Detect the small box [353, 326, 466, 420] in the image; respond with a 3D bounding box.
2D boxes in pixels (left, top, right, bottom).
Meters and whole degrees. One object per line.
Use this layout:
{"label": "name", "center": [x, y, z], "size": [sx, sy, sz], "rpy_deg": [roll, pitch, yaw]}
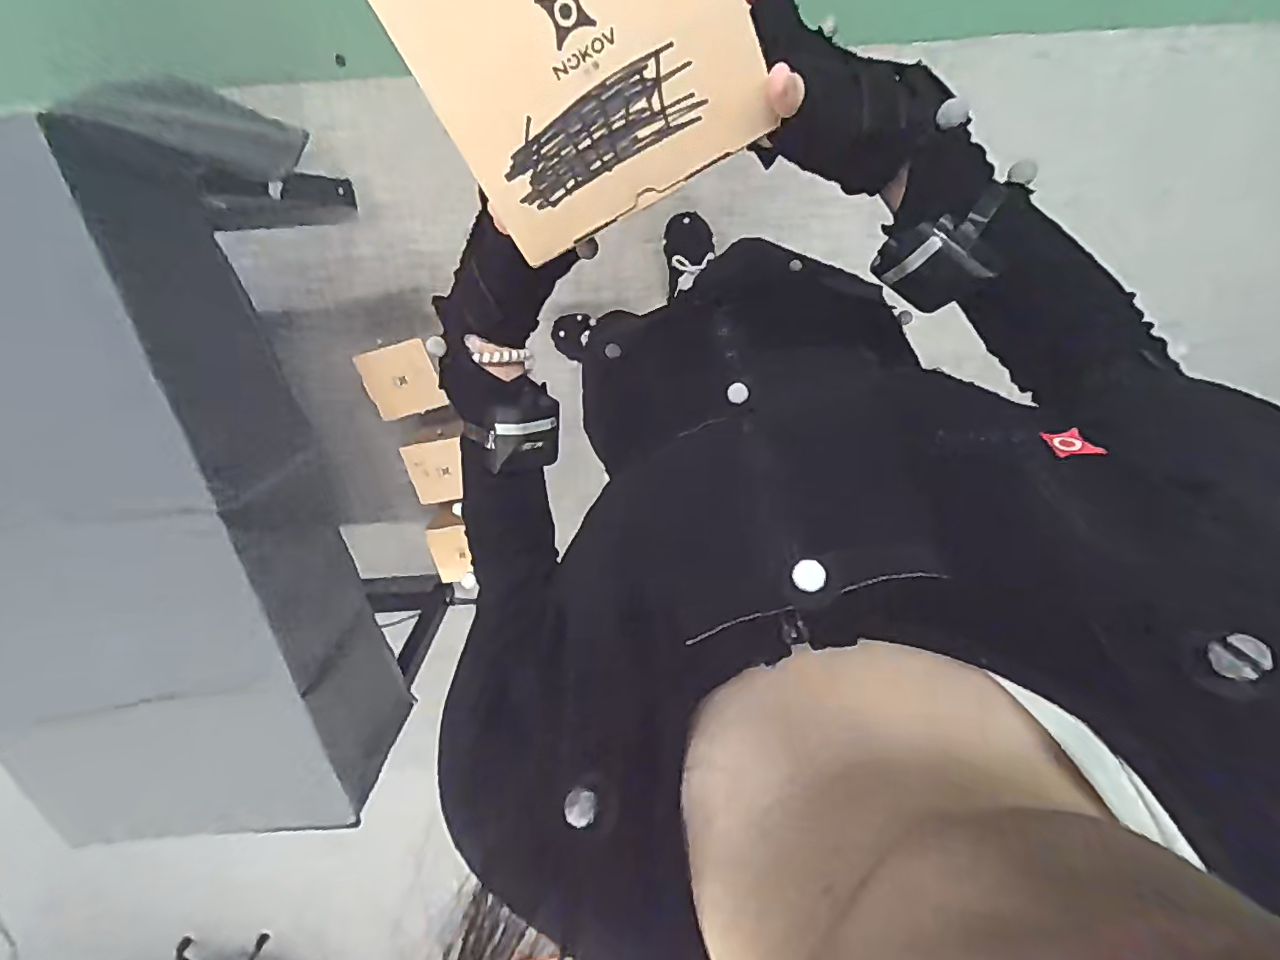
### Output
{"label": "small box", "center": [-0.560, -0.268, 1.339], "size": [0.179, 0.176, 0.168], "rpy_deg": [-14, 115, 7]}
